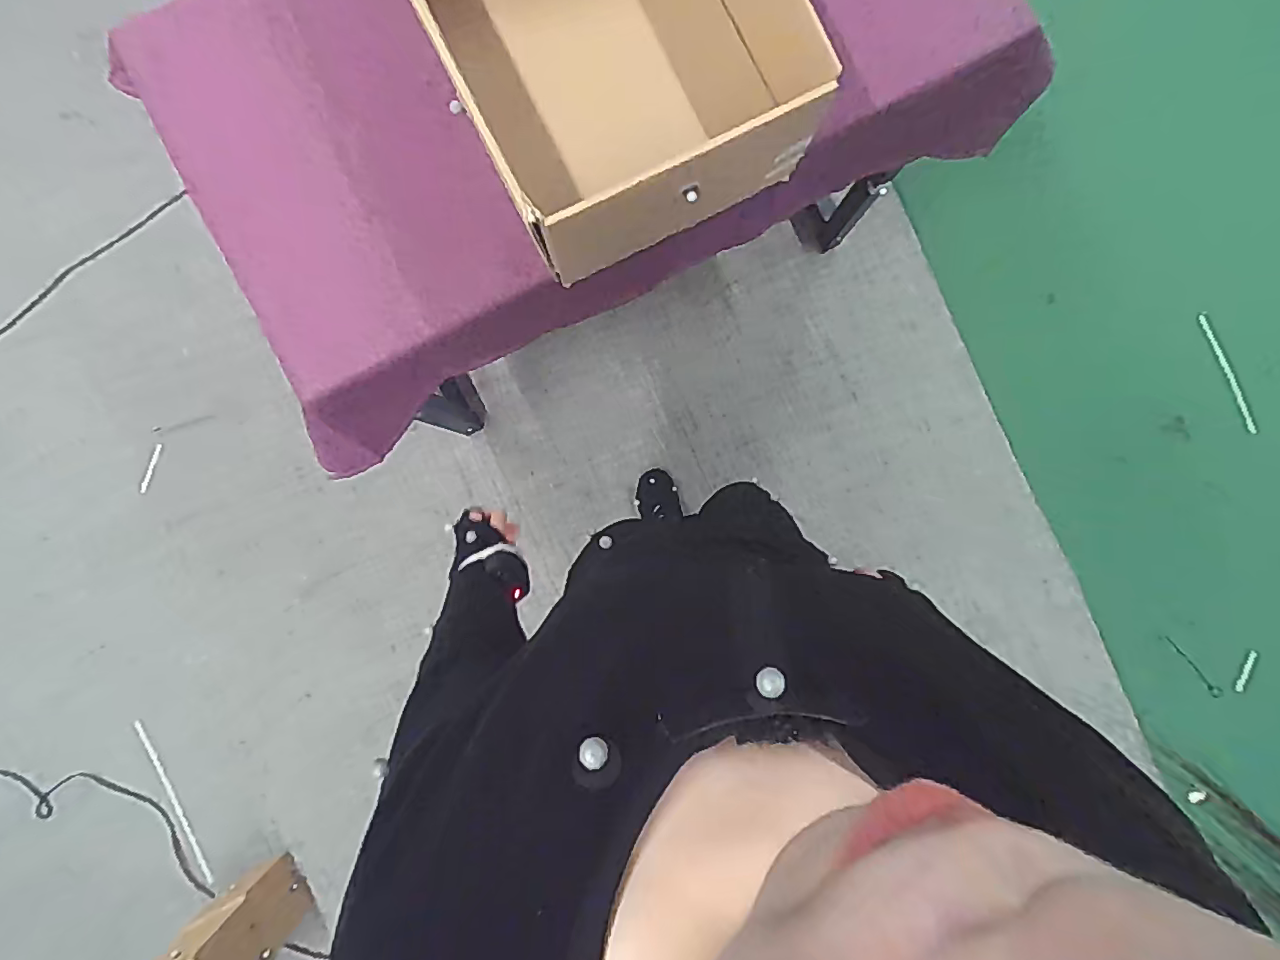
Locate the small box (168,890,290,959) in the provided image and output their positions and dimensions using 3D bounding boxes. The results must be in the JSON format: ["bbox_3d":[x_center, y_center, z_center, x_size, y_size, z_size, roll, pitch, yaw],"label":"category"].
[{"bbox_3d":[-0.968,1.123,1.269,0.179,0.176,0.168,-28,89,1],"label":"small box"}]
